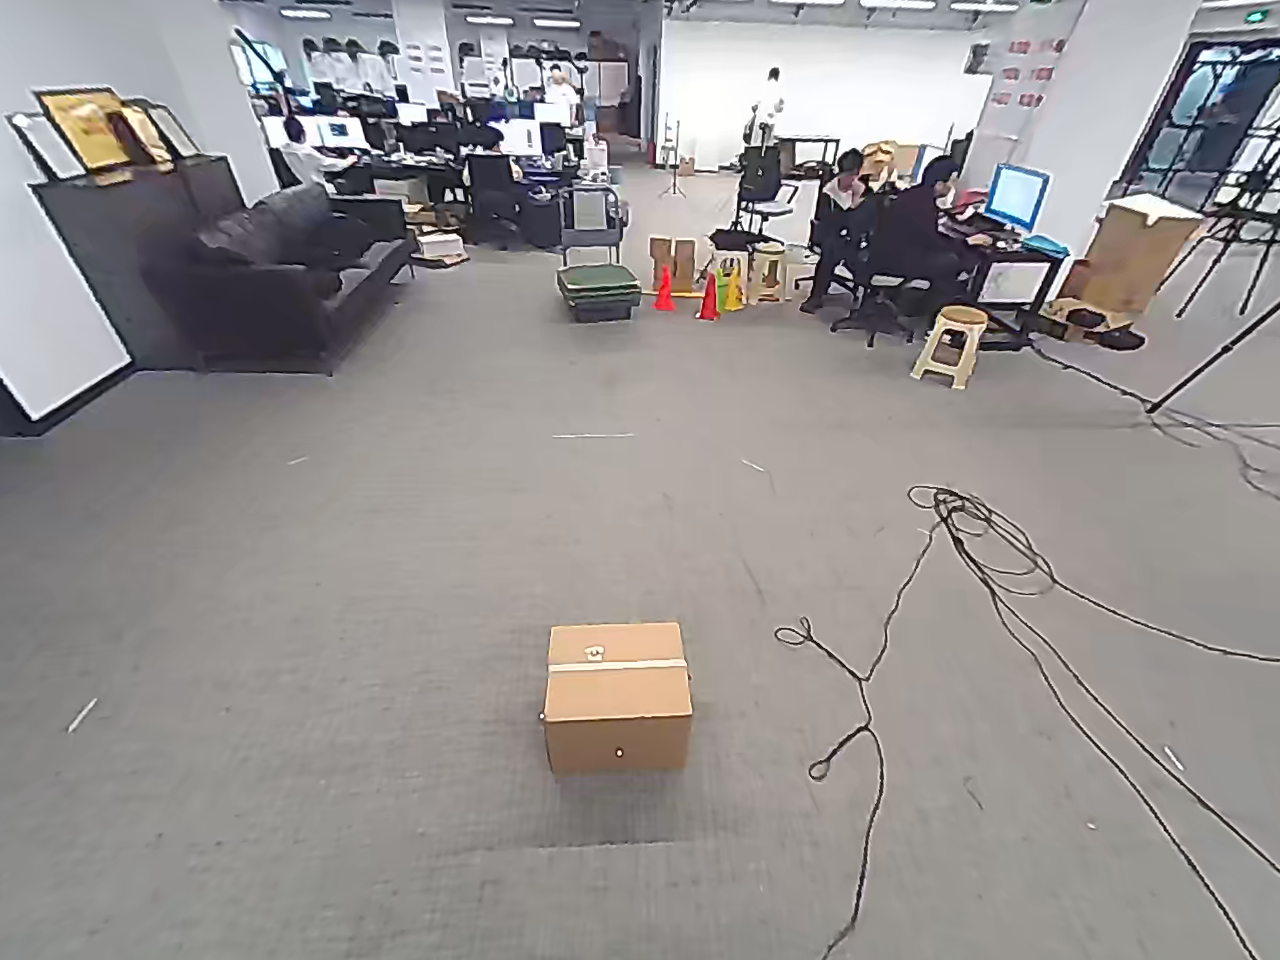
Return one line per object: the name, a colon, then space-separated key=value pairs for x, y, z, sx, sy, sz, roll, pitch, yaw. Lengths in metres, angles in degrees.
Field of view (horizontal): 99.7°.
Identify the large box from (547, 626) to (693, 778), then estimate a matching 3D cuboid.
large box: x=-0.063 y=0.682 z=1.667 sx=0.408 sy=0.320 sz=0.320 roll=-3 pitch=36 yaw=-4
